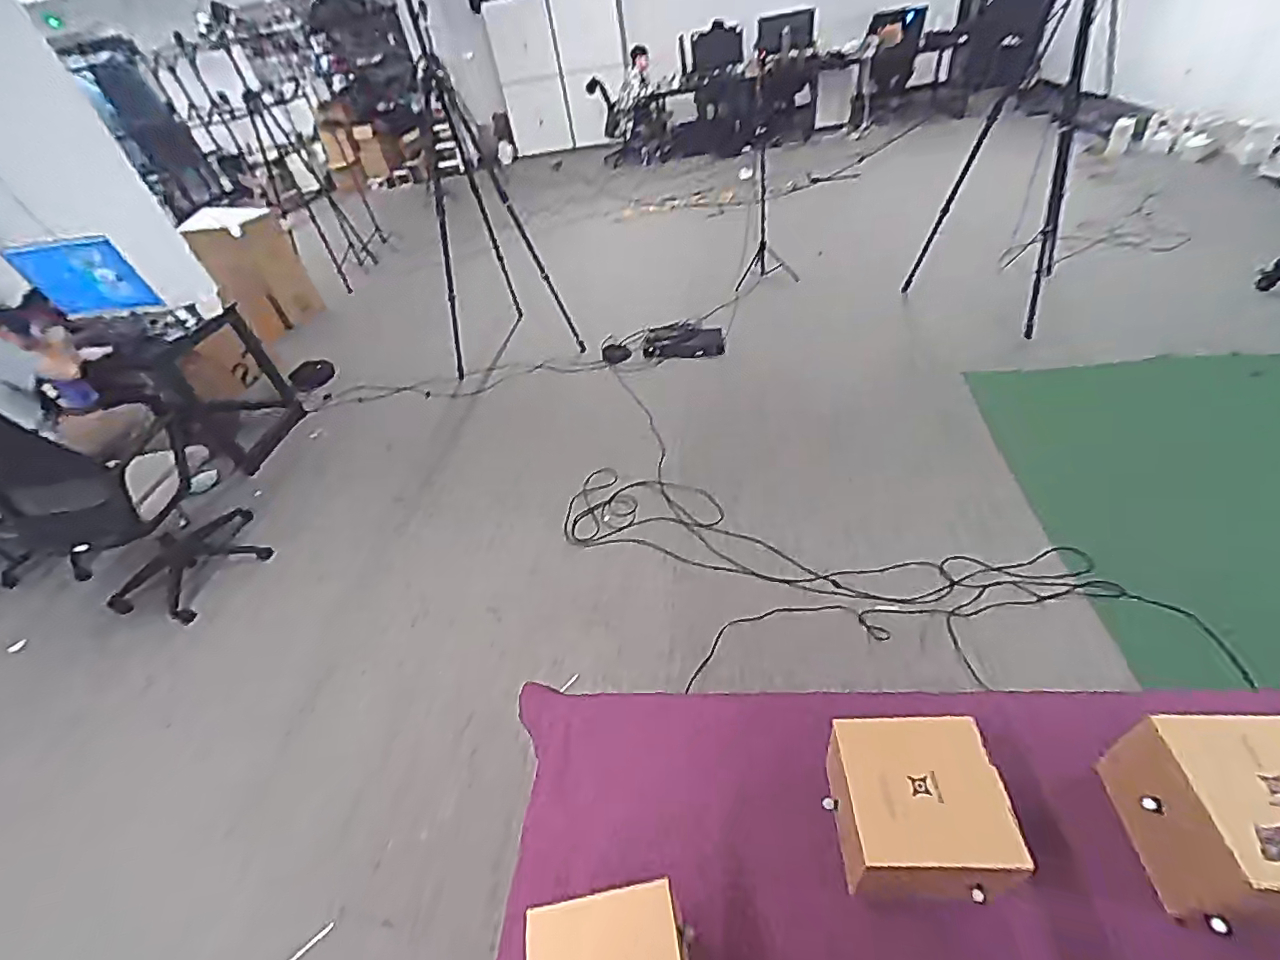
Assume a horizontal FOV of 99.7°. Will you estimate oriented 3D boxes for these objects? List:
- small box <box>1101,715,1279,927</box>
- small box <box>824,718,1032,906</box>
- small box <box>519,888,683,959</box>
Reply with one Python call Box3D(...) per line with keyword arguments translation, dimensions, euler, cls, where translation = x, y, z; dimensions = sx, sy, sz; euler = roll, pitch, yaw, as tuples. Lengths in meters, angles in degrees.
Box3D(translation=(0.696, 0.396, 0.626), dimensions=(0.168, 0.176, 0.179), euler=(-3, 41, 10), cls="small box")
Box3D(translation=(0.342, 0.420, 0.686), dimensions=(0.179, 0.176, 0.168), euler=(-5, 41, 9), cls="small box")
Box3D(translation=(-0.032, 0.581, 0.586), dimensions=(0.168, 0.176, 0.179), euler=(-11, 41, 0), cls="small box")
